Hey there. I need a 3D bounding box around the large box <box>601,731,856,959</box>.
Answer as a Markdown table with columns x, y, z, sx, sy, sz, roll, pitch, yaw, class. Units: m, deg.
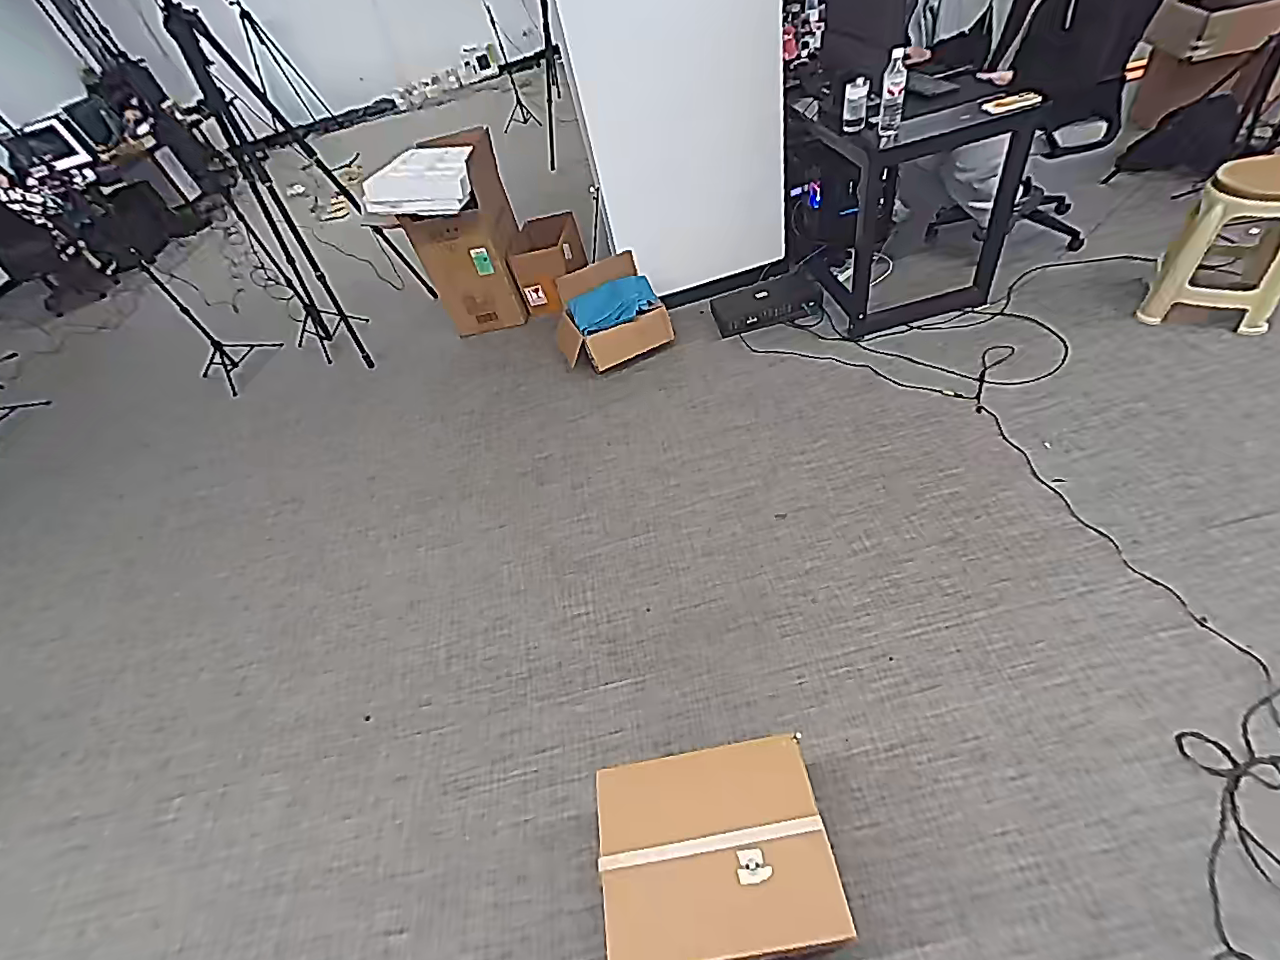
| x | y | z | sx | sy | sz | roll | pitch | yaw | class |
| --- | --- | --- | --- | --- | --- | --- | --- | --- | --- |
| 0.161 | 0.747 | 1.075 | 0.408 | 0.320 | 0.320 | -13 | 47 | 3 | large box |
